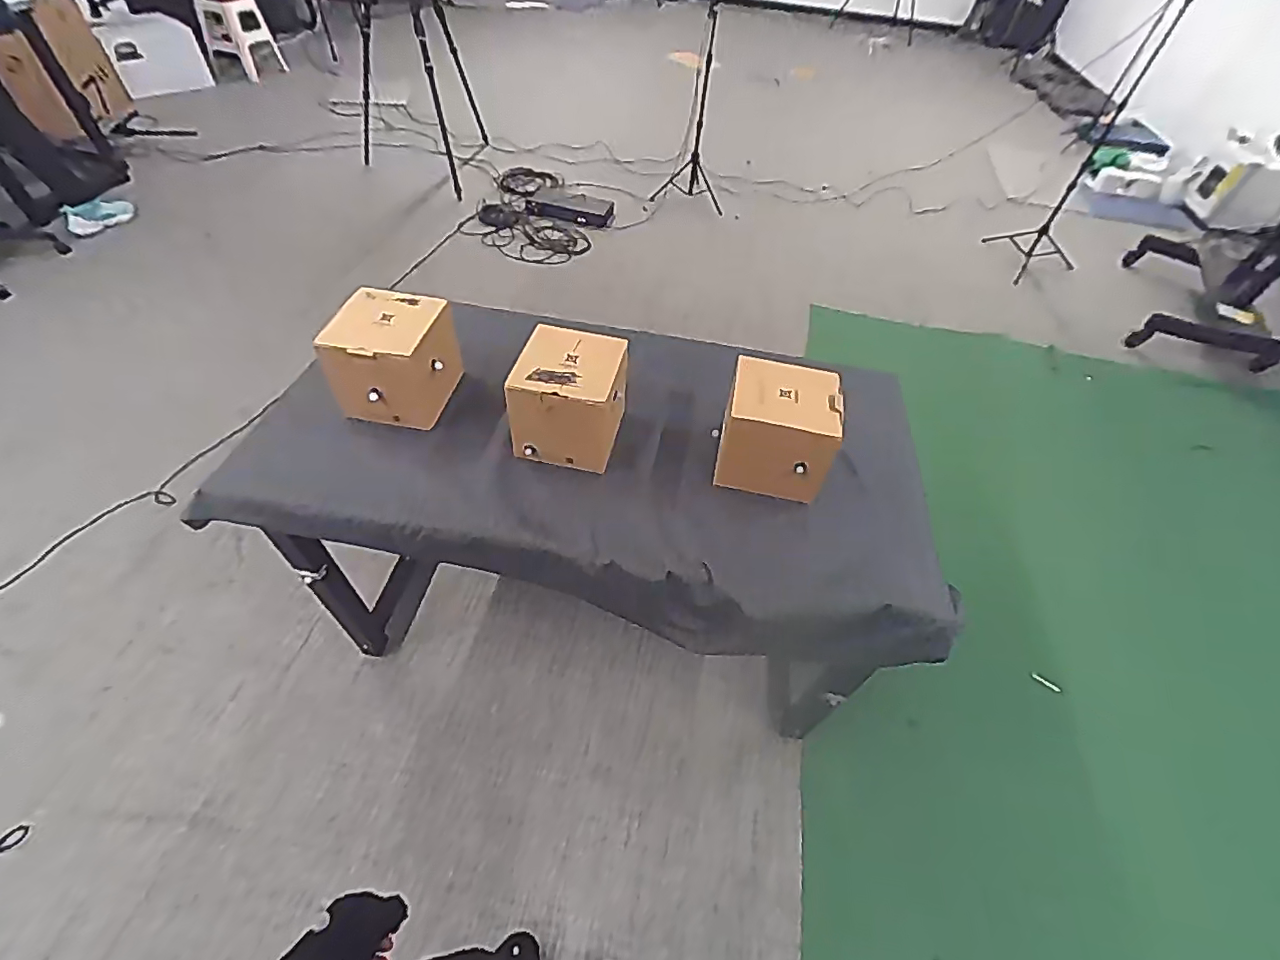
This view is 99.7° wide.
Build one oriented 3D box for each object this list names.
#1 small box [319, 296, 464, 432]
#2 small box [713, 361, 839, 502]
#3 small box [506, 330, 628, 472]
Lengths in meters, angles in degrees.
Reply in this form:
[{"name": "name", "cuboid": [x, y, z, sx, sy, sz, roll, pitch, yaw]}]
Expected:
[{"name": "small box", "cuboid": [-0.442, -0.212, 1.000, 0.168, 0.176, 0.179, 9, 51, 2]}, {"name": "small box", "cuboid": [0.235, -0.081, 0.951, 0.179, 0.176, 0.168, 10, 49, 6]}, {"name": "small box", "cuboid": [-0.121, -0.137, 0.965, 0.168, 0.176, 0.179, 11, 49, 5]}]
